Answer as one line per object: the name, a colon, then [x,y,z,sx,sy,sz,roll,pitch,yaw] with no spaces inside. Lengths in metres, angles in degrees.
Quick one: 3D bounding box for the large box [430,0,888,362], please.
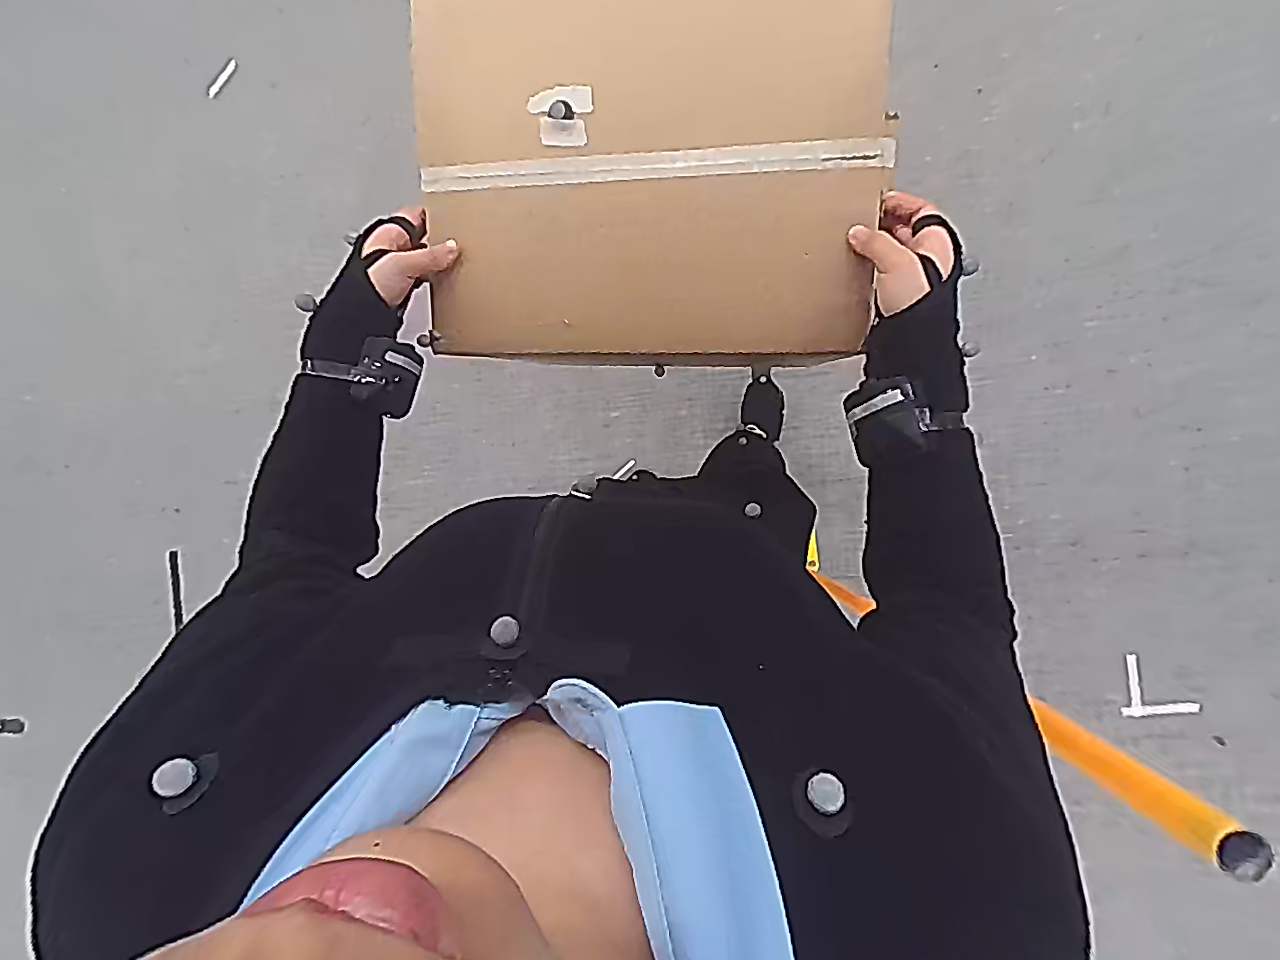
large box: [0.031,-0.301,0.626,0.408,0.320,0.320,2,99,10]
